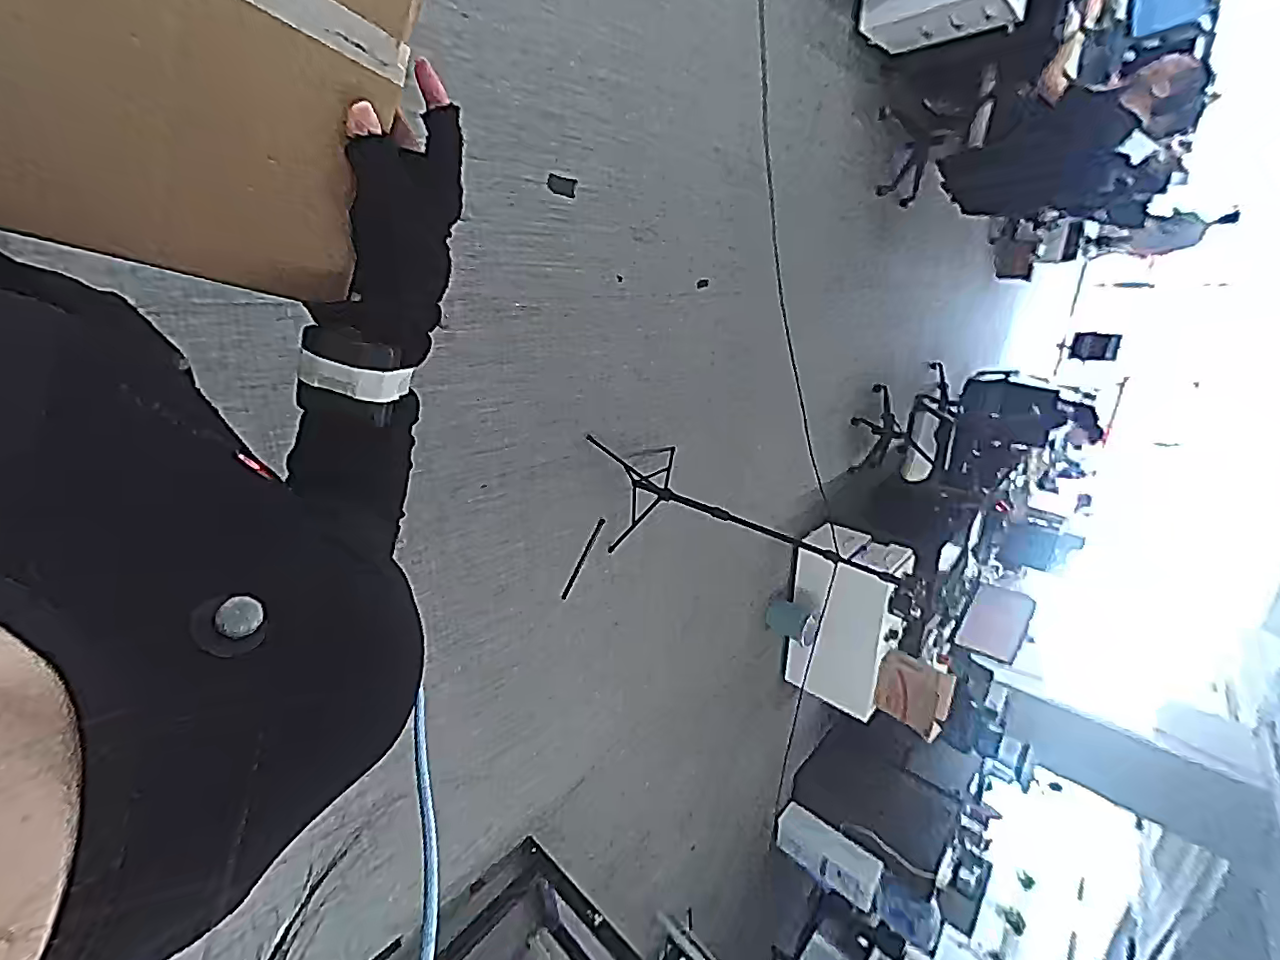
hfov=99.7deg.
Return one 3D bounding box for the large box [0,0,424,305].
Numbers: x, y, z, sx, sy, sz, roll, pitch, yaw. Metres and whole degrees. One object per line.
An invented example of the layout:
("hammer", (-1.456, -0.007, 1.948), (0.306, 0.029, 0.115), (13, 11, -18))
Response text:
("large box", (-0.367, -0.341, 0.274), (0.408, 0.320, 0.320), (4, 125, -46))
